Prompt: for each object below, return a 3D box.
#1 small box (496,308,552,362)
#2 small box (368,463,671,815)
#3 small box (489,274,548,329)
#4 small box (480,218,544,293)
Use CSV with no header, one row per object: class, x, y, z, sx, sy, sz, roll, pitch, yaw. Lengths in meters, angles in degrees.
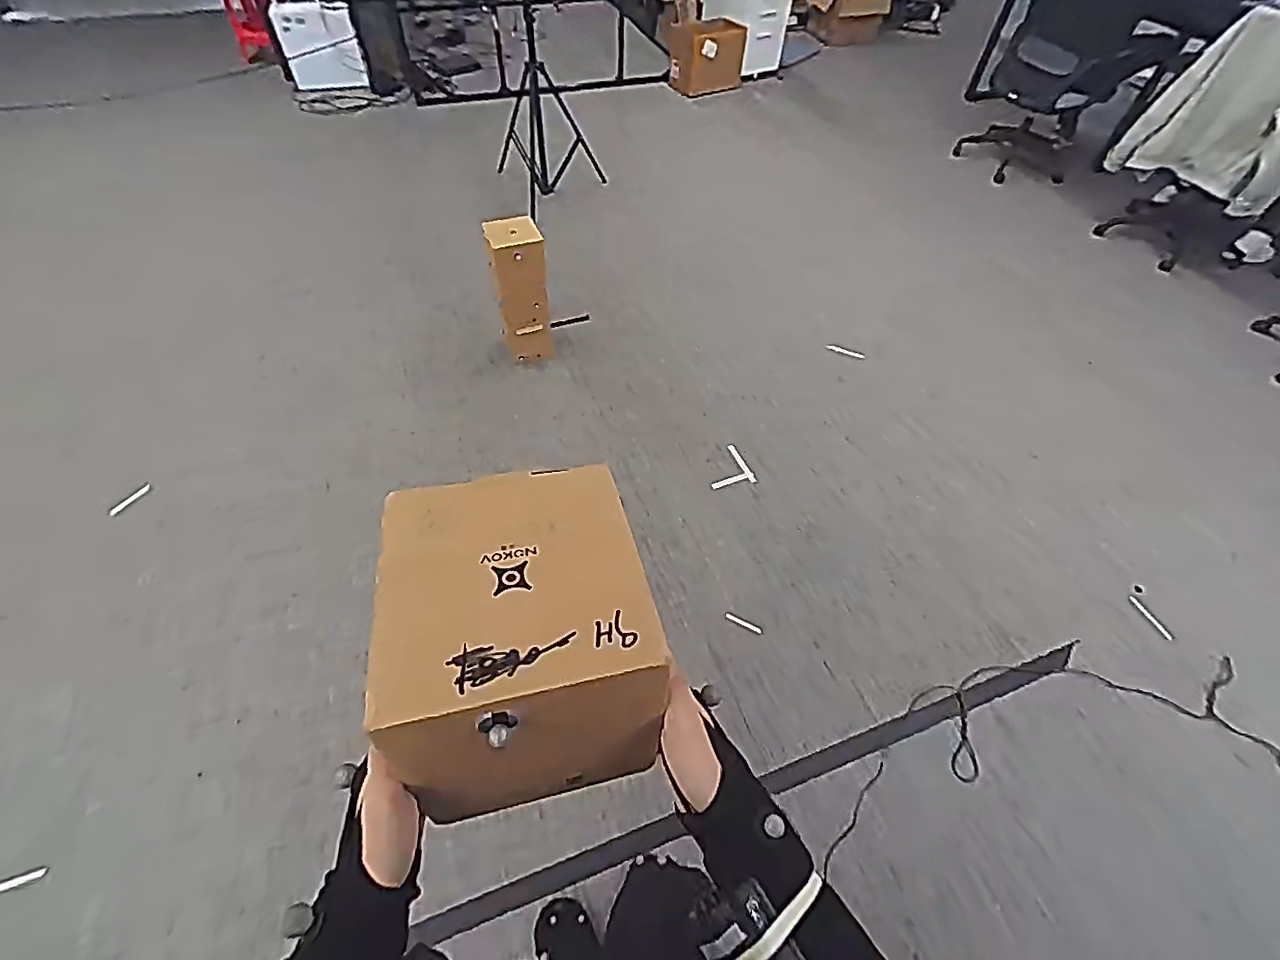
small box,-0.457,-0.586,2.142,0.168,0.176,0.179,-18,57,-15
small box,-0.084,0.113,0.404,0.168,0.176,0.179,-9,44,-12
small box,-0.449,-0.682,2.012,0.168,0.176,0.179,-18,56,-16
small box,-0.440,-0.780,1.883,0.179,0.176,0.168,-19,58,-16
